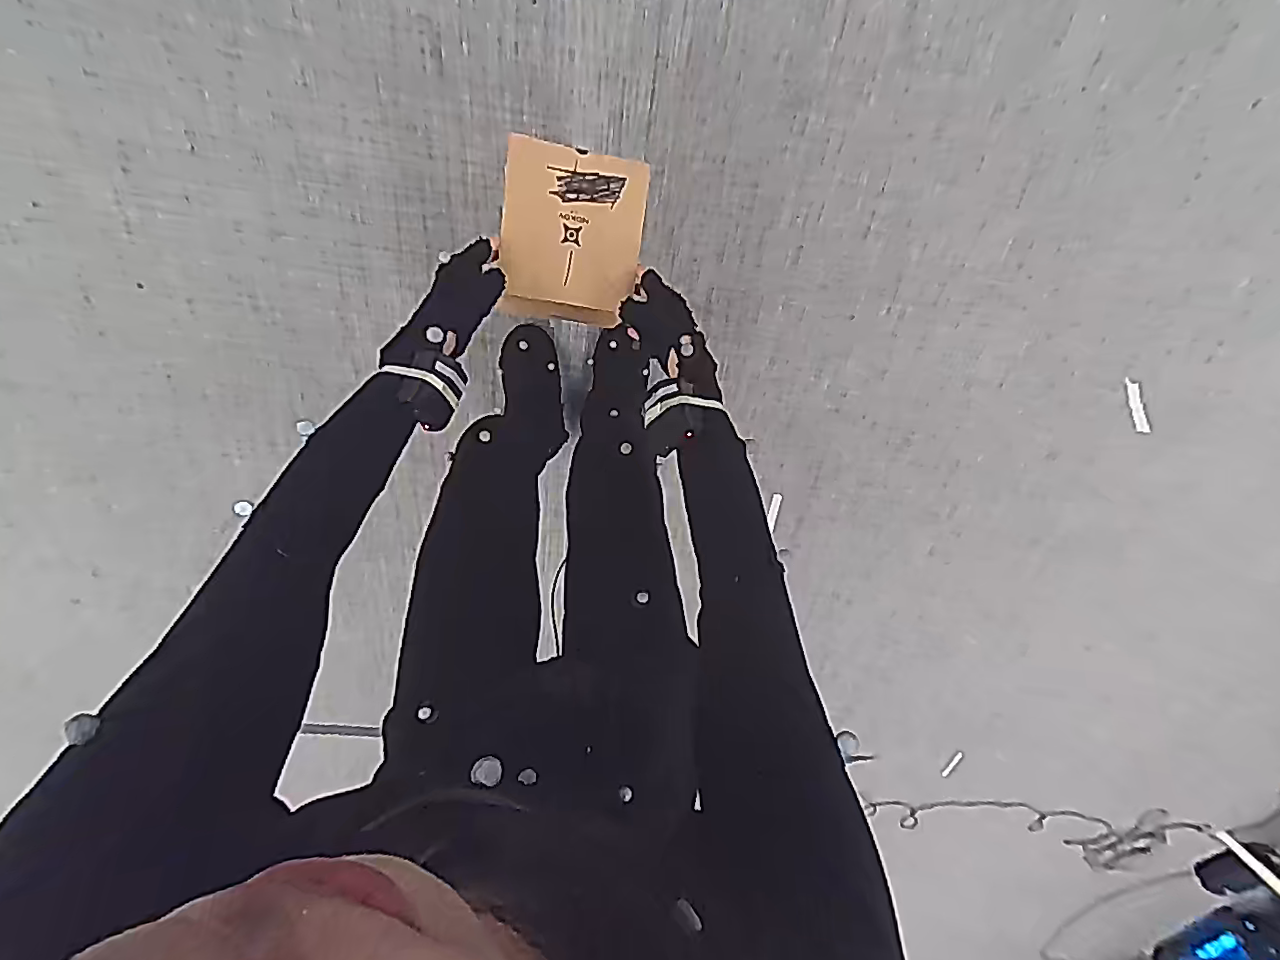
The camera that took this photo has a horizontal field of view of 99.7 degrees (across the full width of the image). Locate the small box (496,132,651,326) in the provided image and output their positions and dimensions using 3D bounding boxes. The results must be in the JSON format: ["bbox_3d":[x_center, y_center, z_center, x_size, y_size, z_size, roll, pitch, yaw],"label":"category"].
[{"bbox_3d":[-0.092,-0.310,0.709,0.168,0.176,0.179,6,99,-11],"label":"small box"}]
